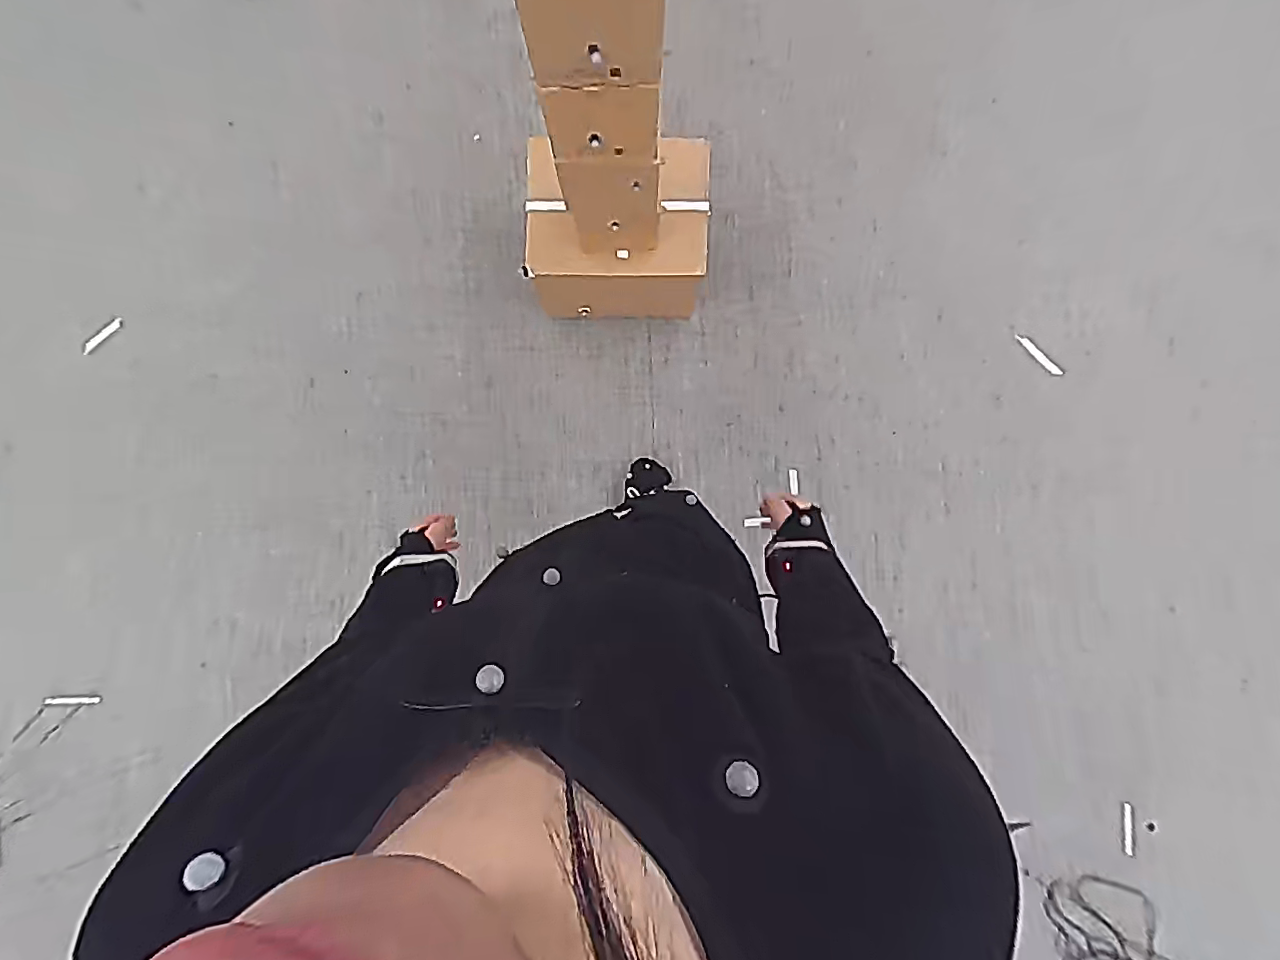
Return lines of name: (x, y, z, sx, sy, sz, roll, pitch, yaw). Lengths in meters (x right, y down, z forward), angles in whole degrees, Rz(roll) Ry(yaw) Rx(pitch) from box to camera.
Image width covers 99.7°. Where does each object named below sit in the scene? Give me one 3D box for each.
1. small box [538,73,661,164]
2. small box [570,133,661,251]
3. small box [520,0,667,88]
small box: (-0.056, -0.601, 0.796, 0.168, 0.176, 0.179, -1, 91, 0)
small box: (-0.048, -0.589, 1.122, 0.179, 0.176, 0.168, -2, 91, -1)
small box: (-0.056, -0.604, 0.631, 0.168, 0.176, 0.179, -3, 91, 0)
